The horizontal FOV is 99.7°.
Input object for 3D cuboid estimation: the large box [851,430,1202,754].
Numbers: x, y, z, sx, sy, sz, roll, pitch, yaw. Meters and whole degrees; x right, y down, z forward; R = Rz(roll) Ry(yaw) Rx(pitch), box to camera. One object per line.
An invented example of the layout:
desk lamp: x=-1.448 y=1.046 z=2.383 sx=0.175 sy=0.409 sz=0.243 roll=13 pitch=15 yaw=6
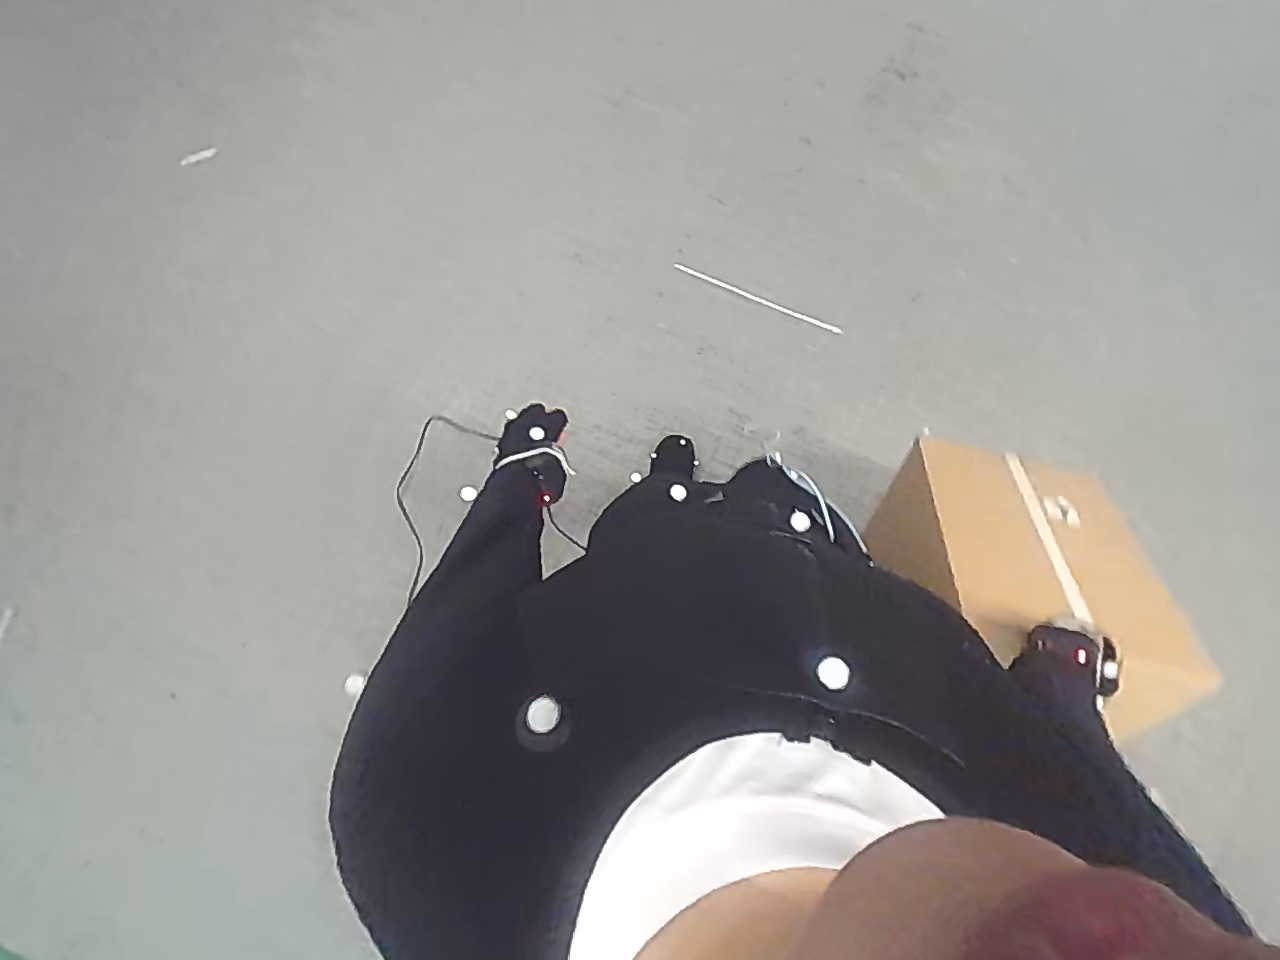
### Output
large box: x=0.580 y=0.178 z=0.928 sx=0.320 sy=0.408 sz=0.320 roll=15 pitch=132 yaw=5
